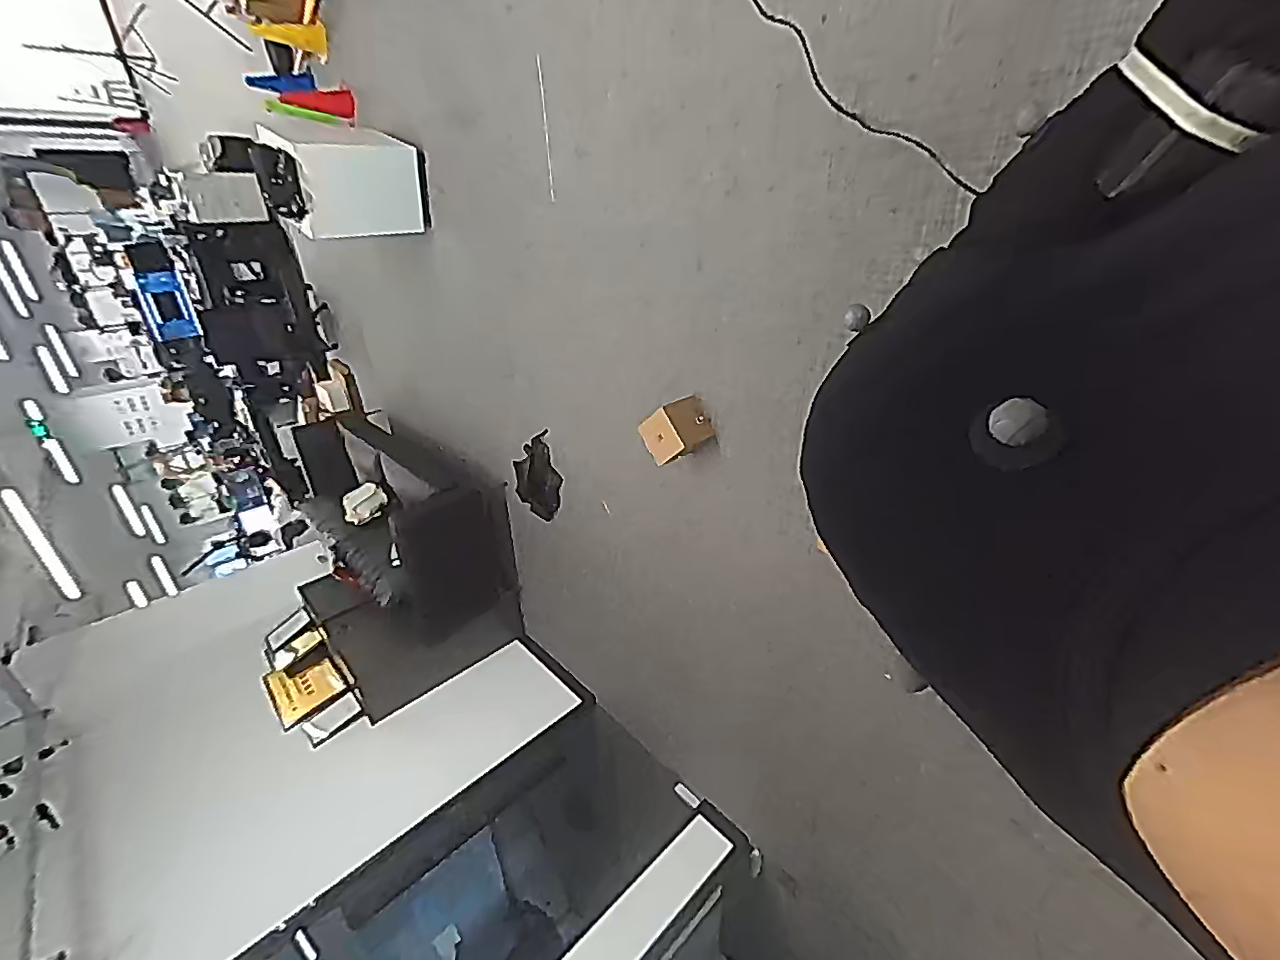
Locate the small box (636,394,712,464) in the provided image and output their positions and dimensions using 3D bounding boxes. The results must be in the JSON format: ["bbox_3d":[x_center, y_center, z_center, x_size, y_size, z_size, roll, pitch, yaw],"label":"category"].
[{"bbox_3d":[0.125,-0.182,1.929,0.168,0.176,0.179,60,142,5],"label":"small box"}]
